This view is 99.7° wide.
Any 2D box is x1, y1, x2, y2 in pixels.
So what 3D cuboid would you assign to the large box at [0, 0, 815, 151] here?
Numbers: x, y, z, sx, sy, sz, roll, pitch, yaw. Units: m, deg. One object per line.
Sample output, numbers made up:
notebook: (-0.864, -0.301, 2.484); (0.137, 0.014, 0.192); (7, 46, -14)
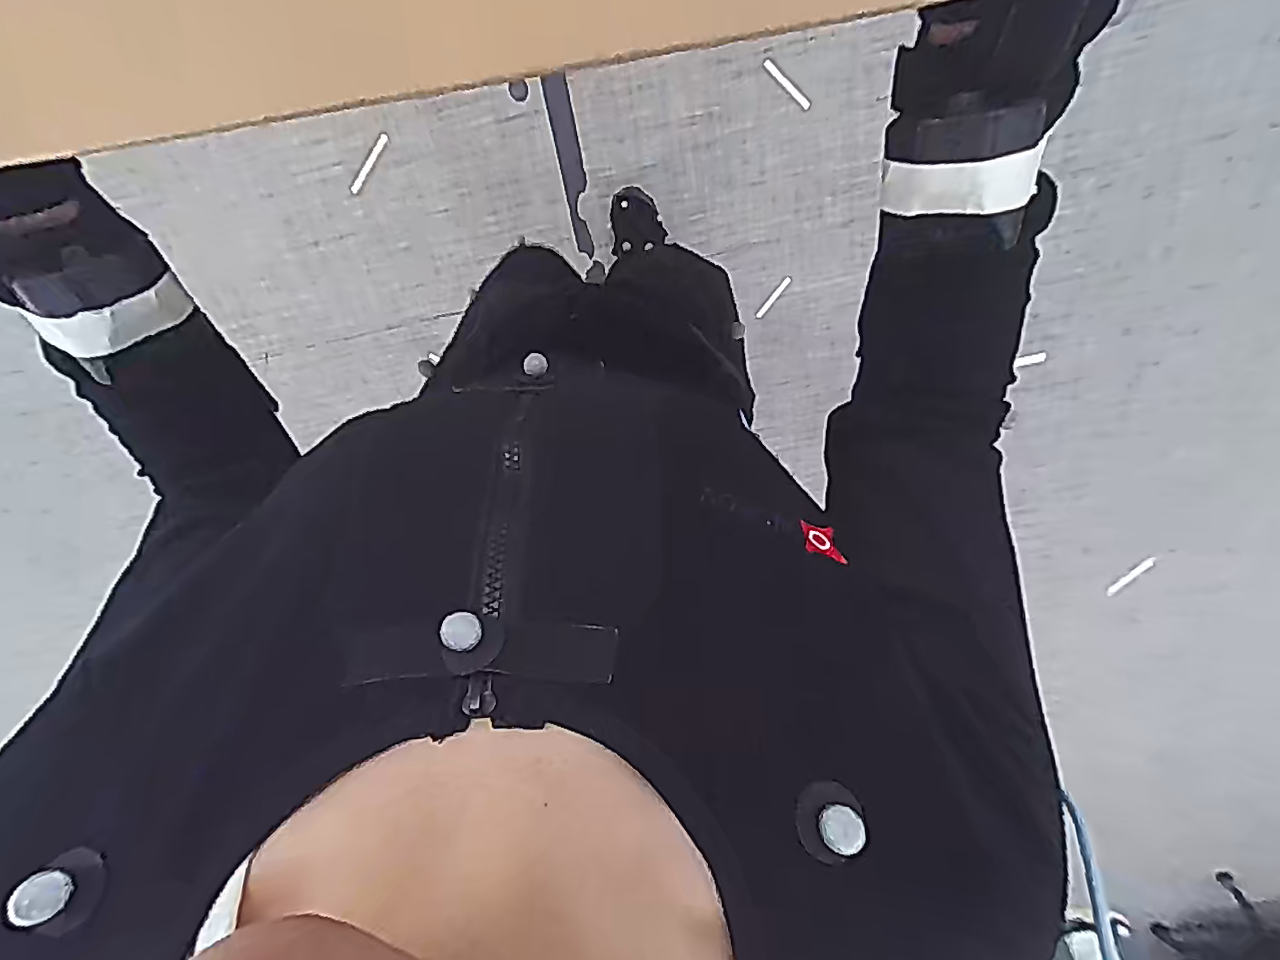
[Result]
large box: (-0.101, -0.379, 0.239); (0.408, 0.320, 0.320); (-7, 130, 4)
